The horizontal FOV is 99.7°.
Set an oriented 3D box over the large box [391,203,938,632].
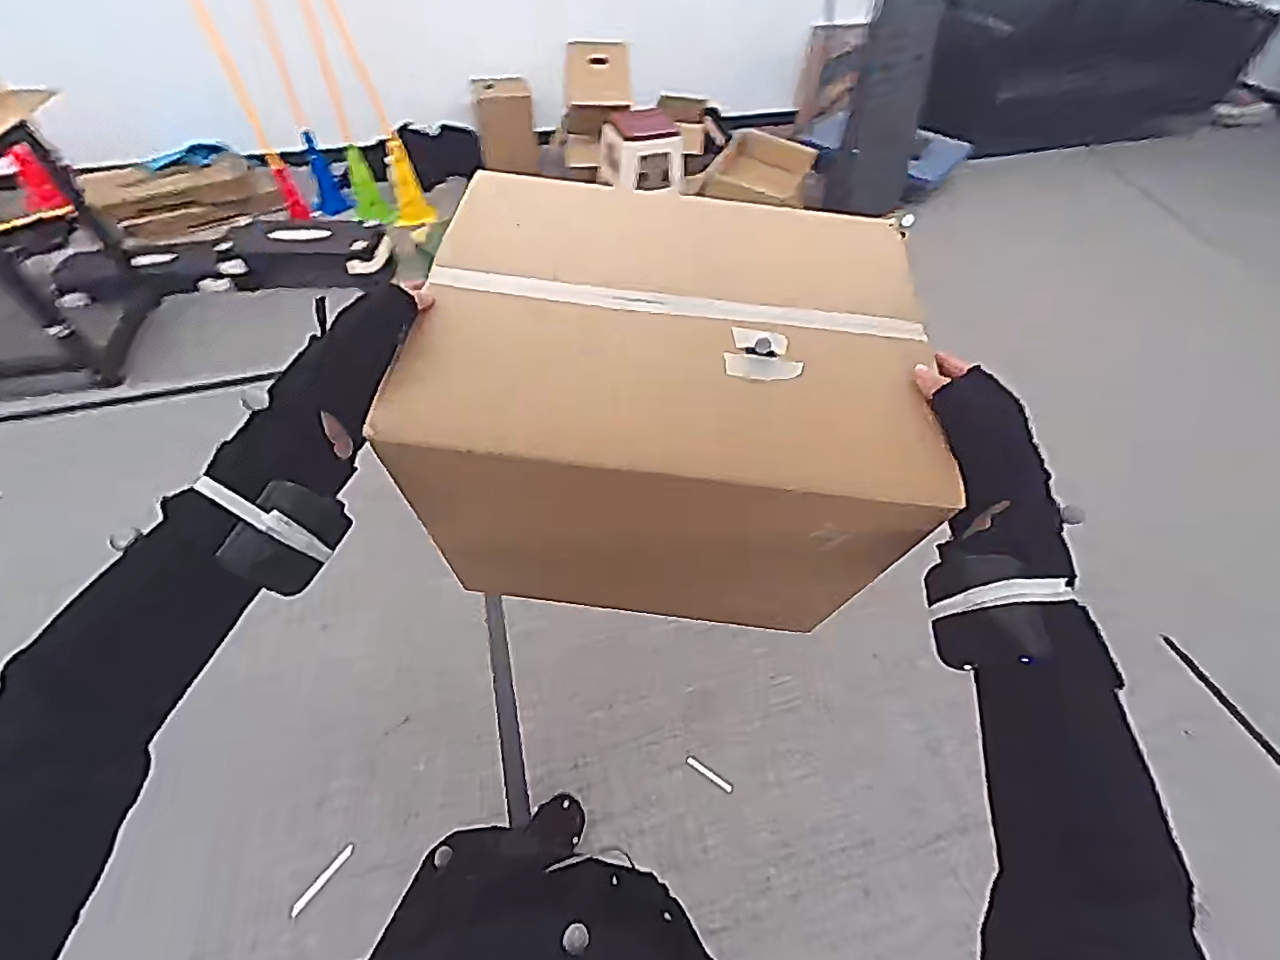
[{"bbox_3d":[0.020,-0.046,0.587,0.408,0.320,0.320,8,60,0],"label":"large box"}]
